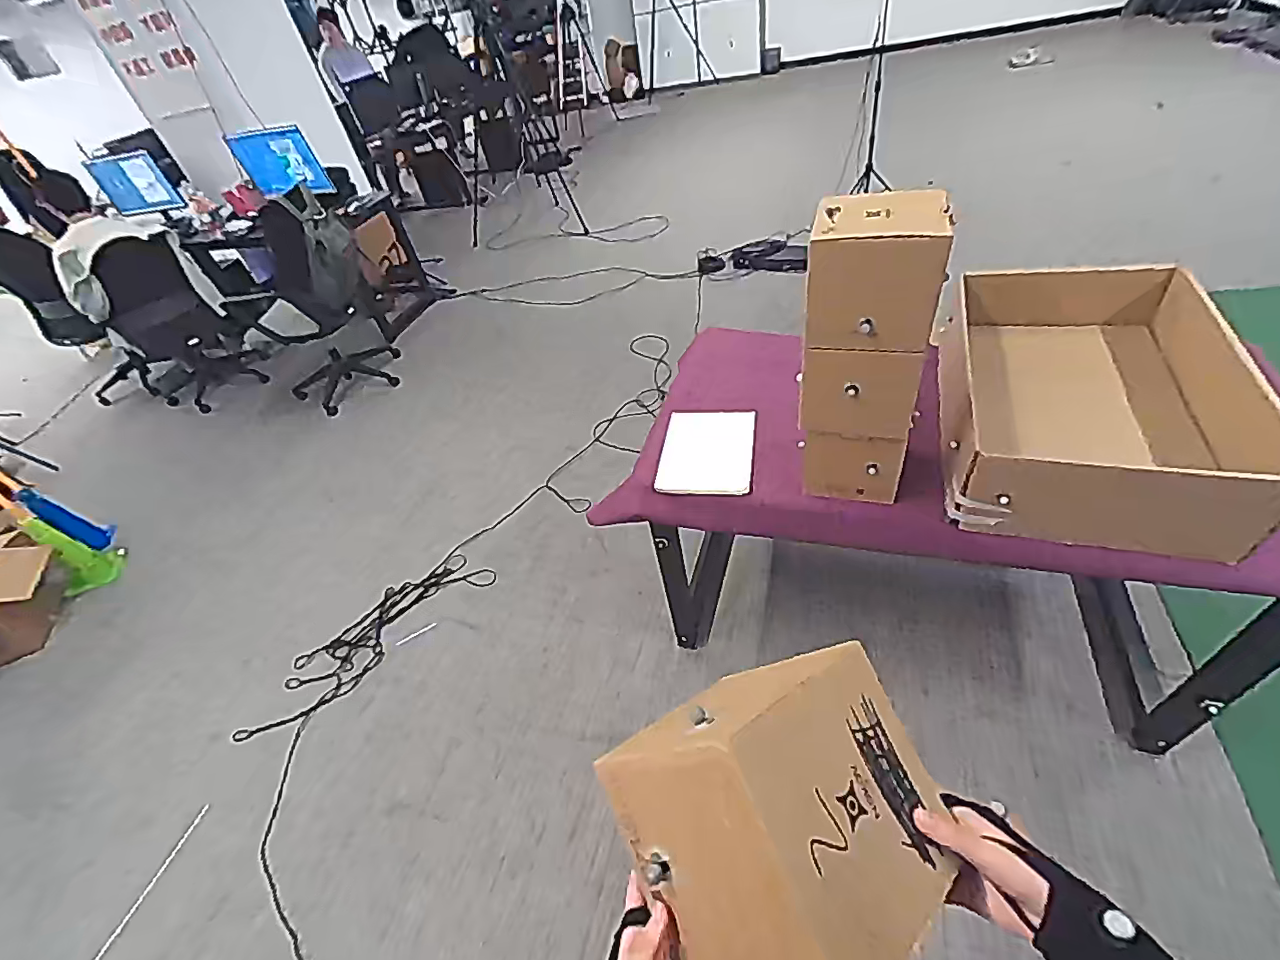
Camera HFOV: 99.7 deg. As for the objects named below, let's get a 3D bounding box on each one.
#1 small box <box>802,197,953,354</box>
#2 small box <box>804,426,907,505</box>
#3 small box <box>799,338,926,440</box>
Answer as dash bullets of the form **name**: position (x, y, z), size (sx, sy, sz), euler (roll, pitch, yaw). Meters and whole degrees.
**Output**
- **small box**: position (0.346, -0.303, 0.806), size (0.179, 0.176, 0.168), euler (8, 45, 20)
- **small box**: position (0.409, -0.073, 1.032), size (0.168, 0.176, 0.179), euler (8, 45, 20)
- **small box**: position (0.373, -0.184, 0.917), size (0.179, 0.176, 0.168), euler (7, 45, 21)
